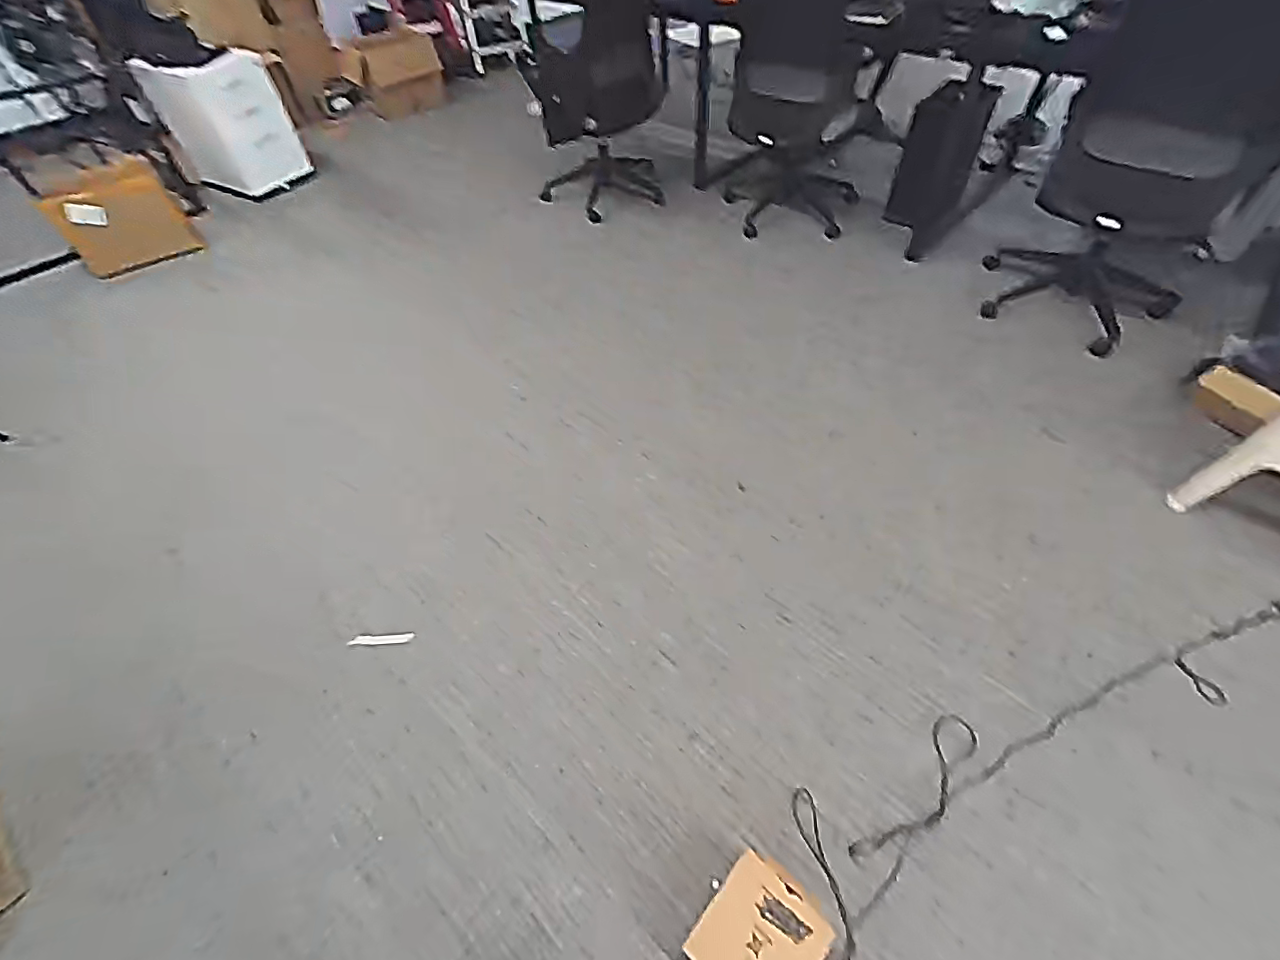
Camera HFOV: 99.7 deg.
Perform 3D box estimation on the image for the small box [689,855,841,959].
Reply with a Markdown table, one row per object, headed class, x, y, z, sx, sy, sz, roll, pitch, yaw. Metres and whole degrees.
| class | x | y | z | sx | sy | sz | roll | pitch | yaw |
| --- | --- | --- | --- | --- | --- | --- | --- | --- | --- |
| small box | 0.190 | 0.752 | 0.870 | 0.168 | 0.176 | 0.179 | 34 | 60 | 28 |
